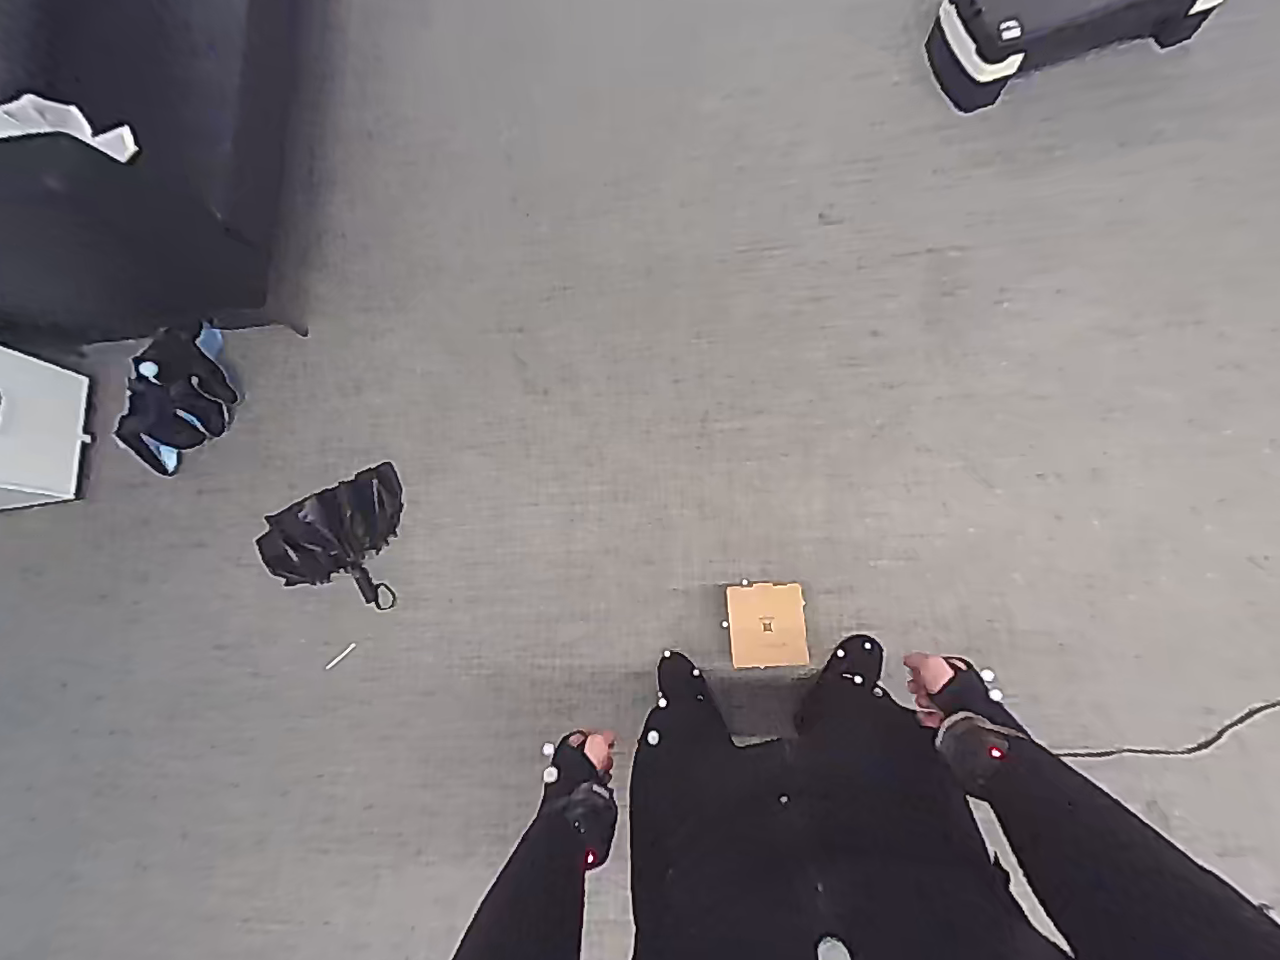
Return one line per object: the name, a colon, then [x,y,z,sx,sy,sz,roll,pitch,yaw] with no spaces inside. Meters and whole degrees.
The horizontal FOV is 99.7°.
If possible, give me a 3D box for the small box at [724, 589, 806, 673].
small box: [0.286,0.350,1.270,0.168,0.176,0.179,-5,78,8]
